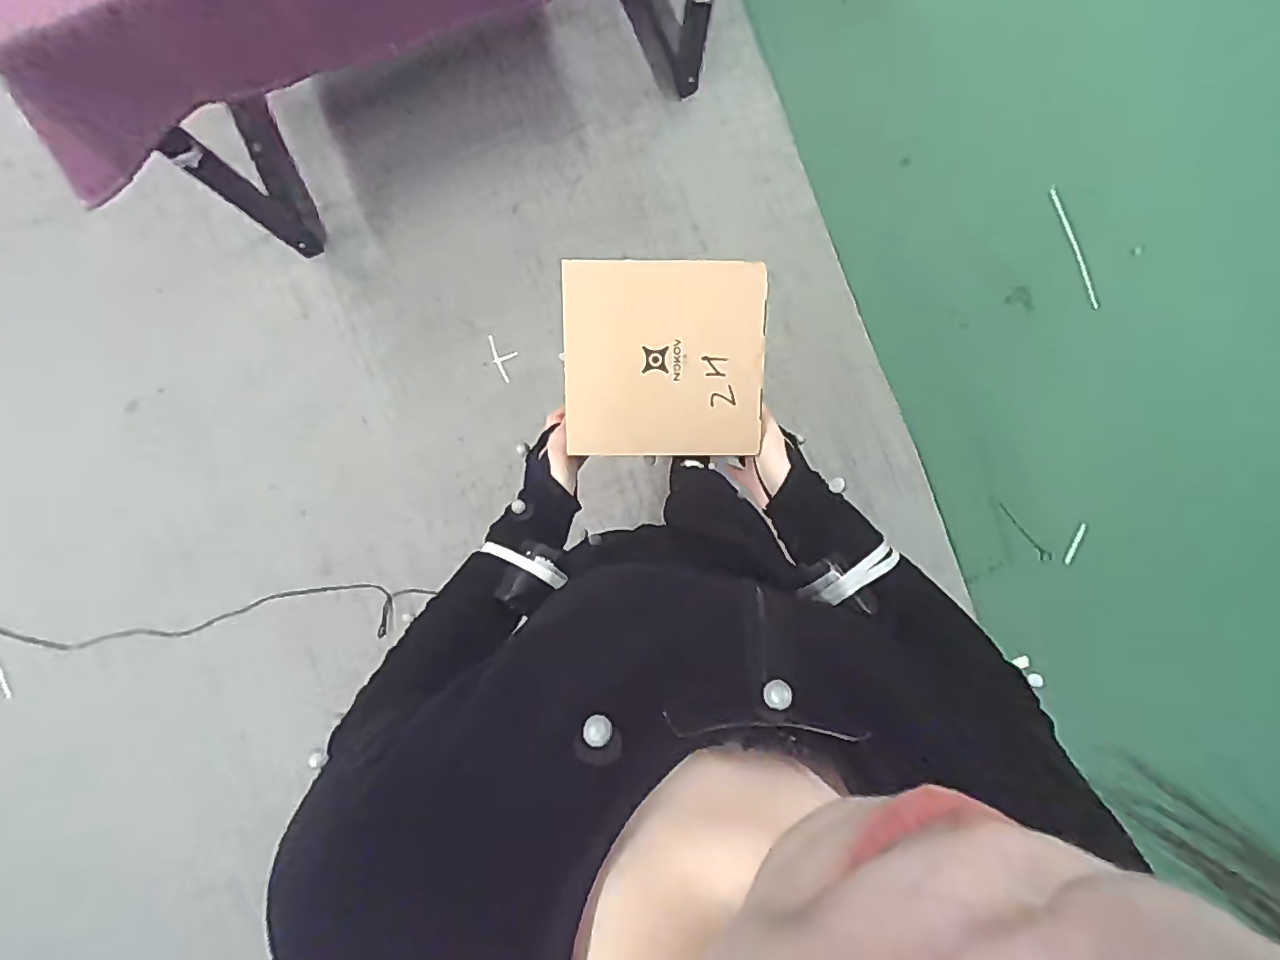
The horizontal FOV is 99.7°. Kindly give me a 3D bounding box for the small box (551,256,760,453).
[{"bbox_3d":[0.011,-0.120,0.540,0.179,0.176,0.168,0,102,-2],"label":"small box"}]
